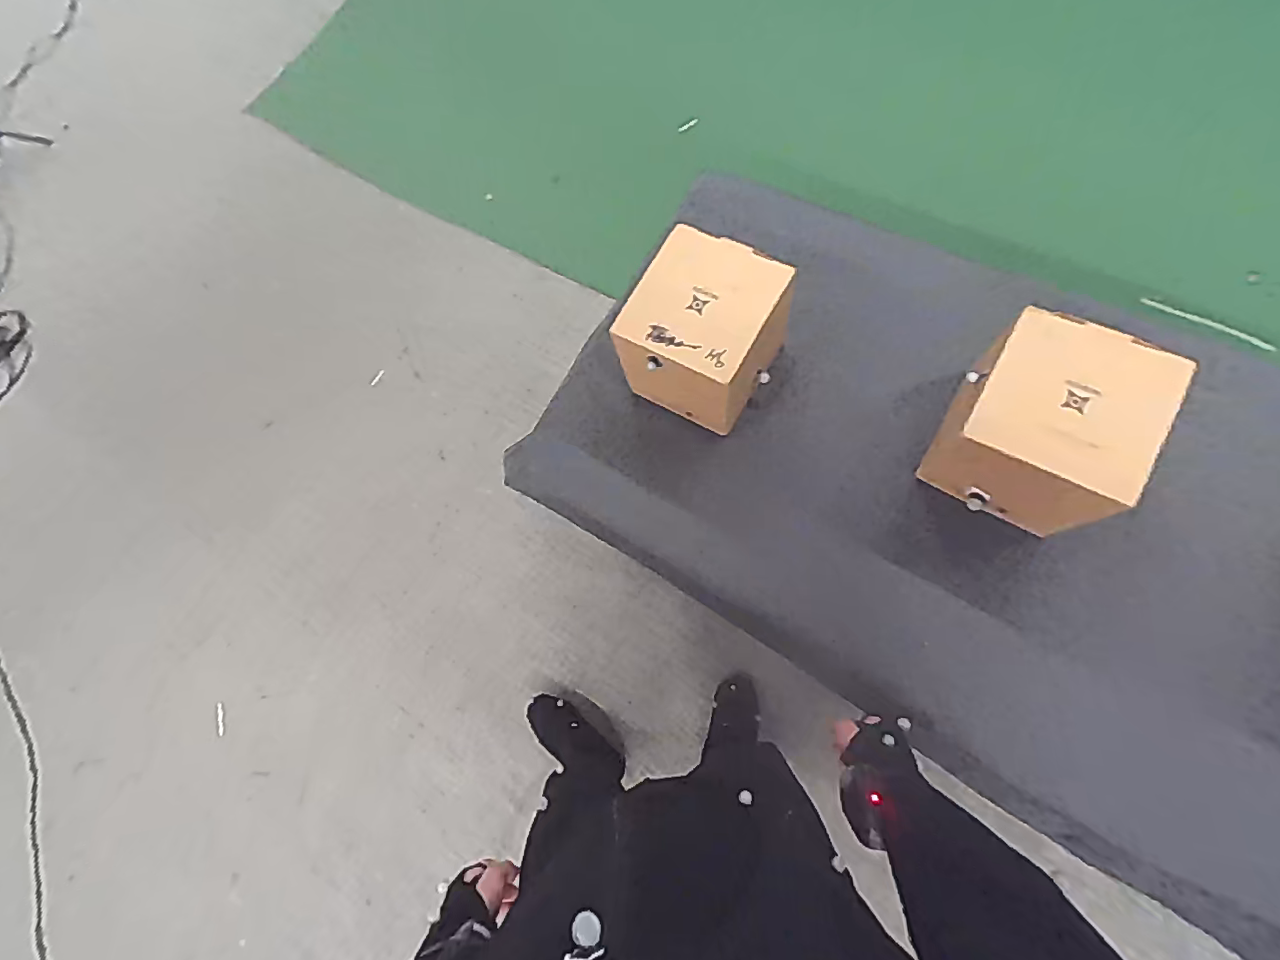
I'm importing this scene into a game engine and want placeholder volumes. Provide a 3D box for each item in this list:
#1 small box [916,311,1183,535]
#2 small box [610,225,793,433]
[{"bbox_3d":[0.455,-0.057,0.635,0.168,0.176,0.179,28,82,16],"label":"small box"},{"bbox_3d":[0.083,-0.194,0.728,0.168,0.176,0.179,29,79,16],"label":"small box"}]
